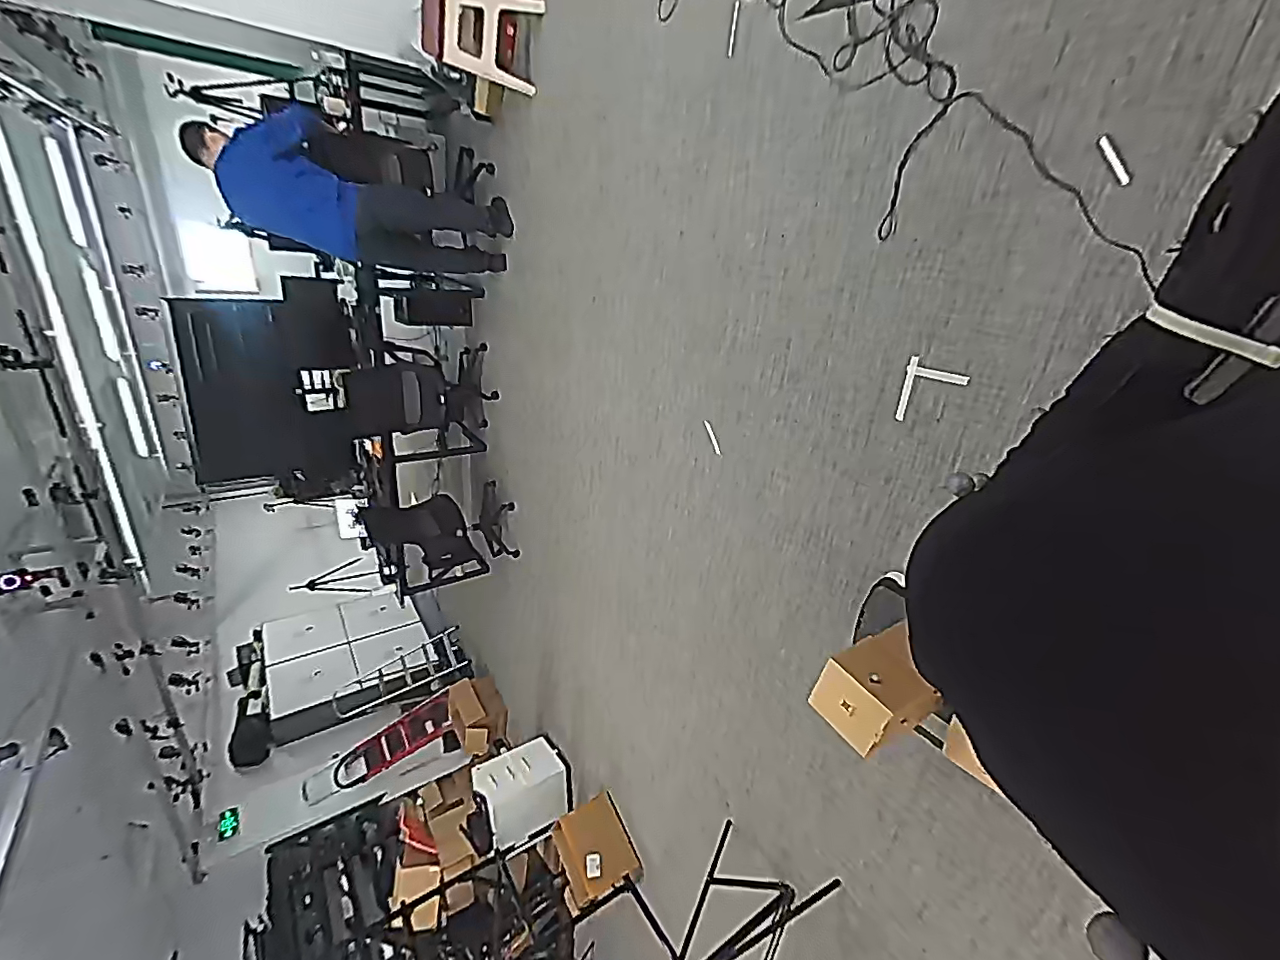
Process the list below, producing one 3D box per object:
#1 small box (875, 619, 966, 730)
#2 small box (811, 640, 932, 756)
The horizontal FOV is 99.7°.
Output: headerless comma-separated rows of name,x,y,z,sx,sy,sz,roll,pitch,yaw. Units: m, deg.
small box,0.691,0.486,1.377,0.168,0.176,0.179,39,130,44
small box,0.552,0.509,1.295,0.179,0.176,0.168,41,131,41
